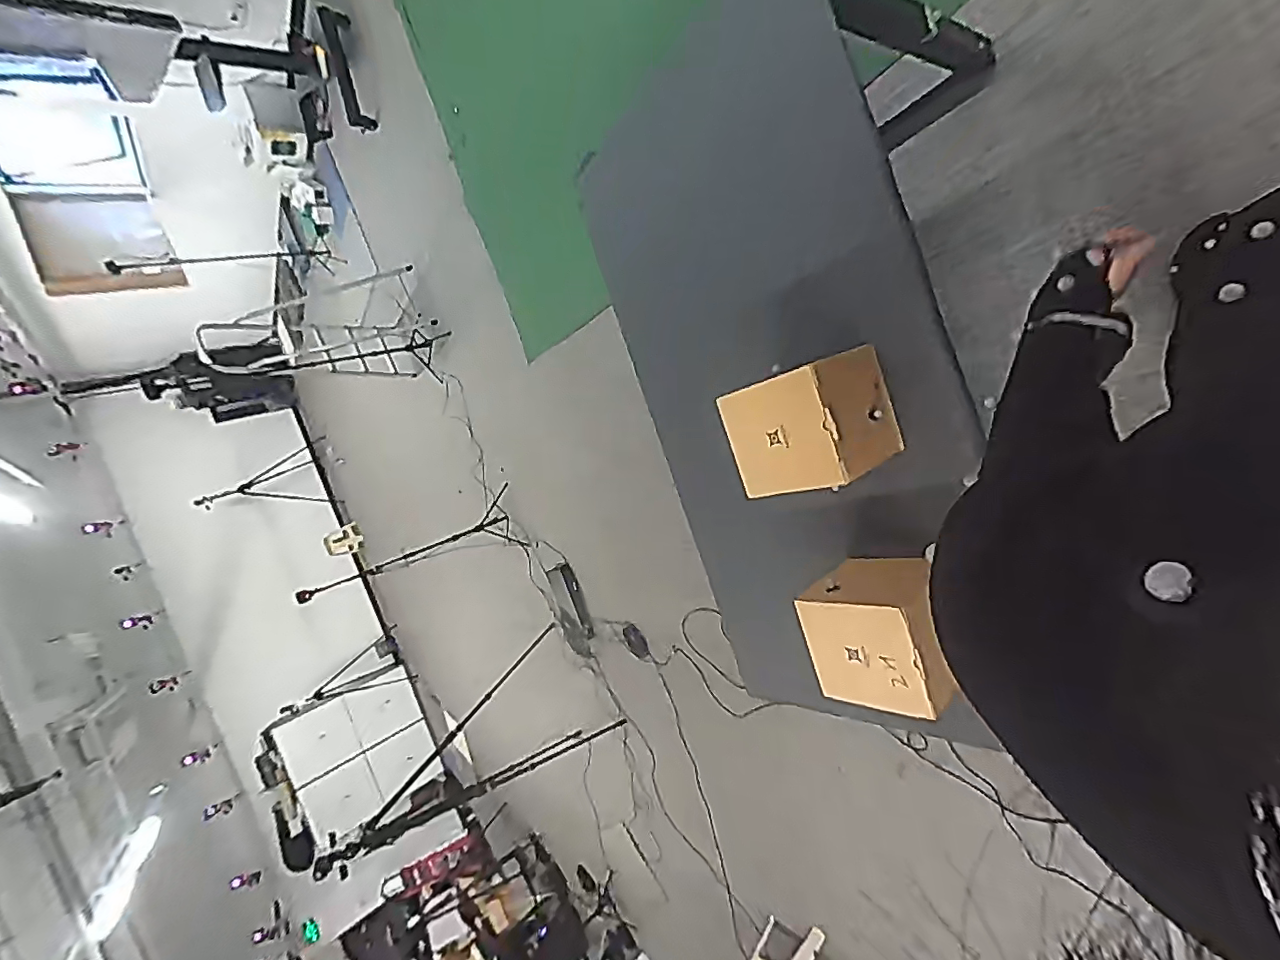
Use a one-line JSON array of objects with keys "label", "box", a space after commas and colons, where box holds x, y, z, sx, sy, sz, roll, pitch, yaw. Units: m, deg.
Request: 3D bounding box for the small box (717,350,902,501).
[{"label": "small box", "box": [0.250, -0.079, 0.801, 0.179, 0.176, 0.168, -15, 96, 51]}]

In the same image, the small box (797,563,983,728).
[{"label": "small box", "box": [0.371, 0.230, 0.805, 0.179, 0.176, 0.168, -13, 98, 52]}]
